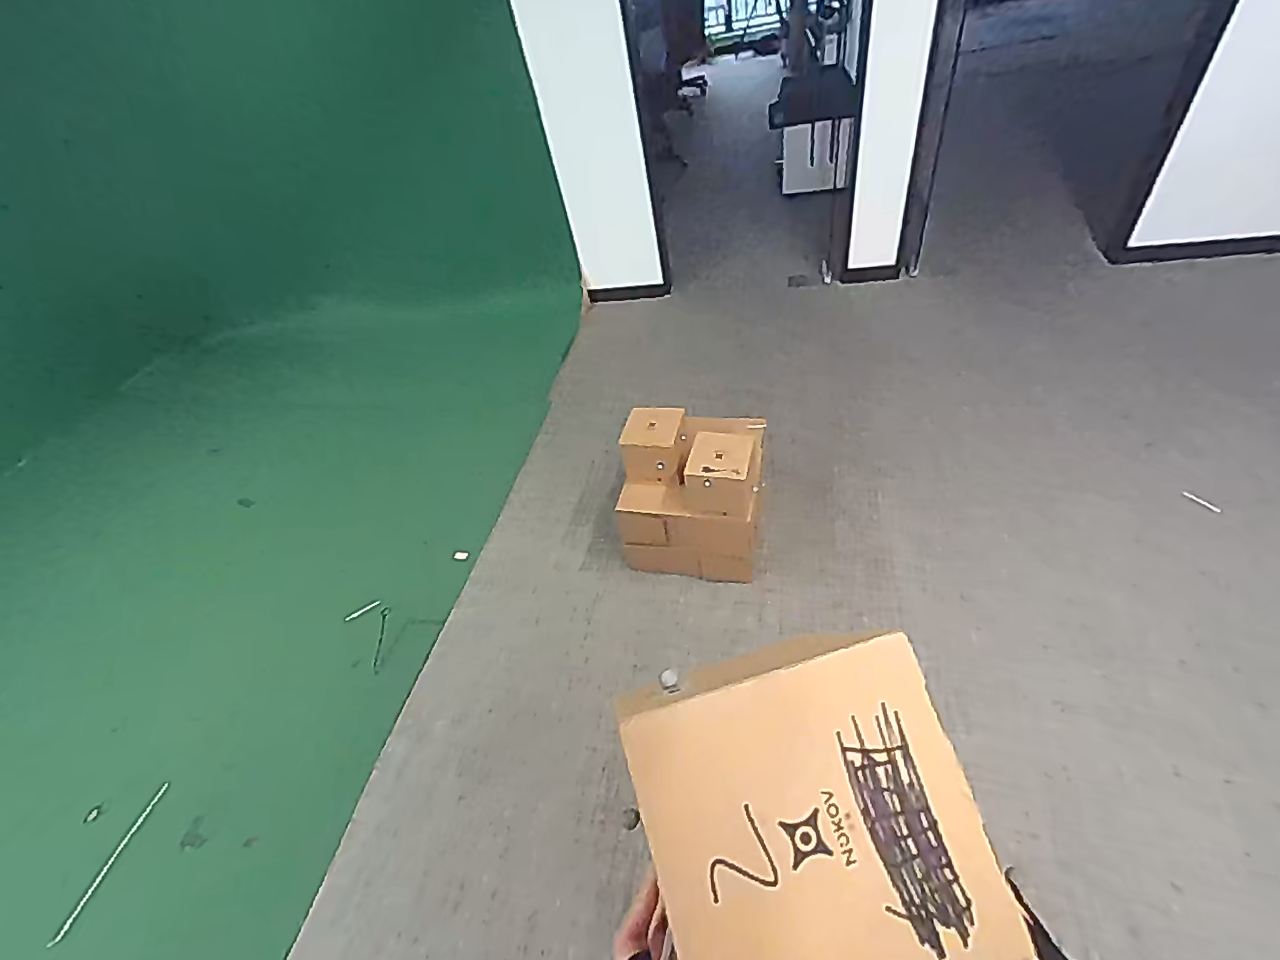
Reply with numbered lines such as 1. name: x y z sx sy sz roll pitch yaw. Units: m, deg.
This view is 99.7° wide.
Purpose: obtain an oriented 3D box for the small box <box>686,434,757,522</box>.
1. small box: 0.233 -0.007 1.520 0.168 0.176 0.179 6 46 19

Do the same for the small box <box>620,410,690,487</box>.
1. small box: 0.054 -0.095 1.661 0.168 0.176 0.179 4 45 18
